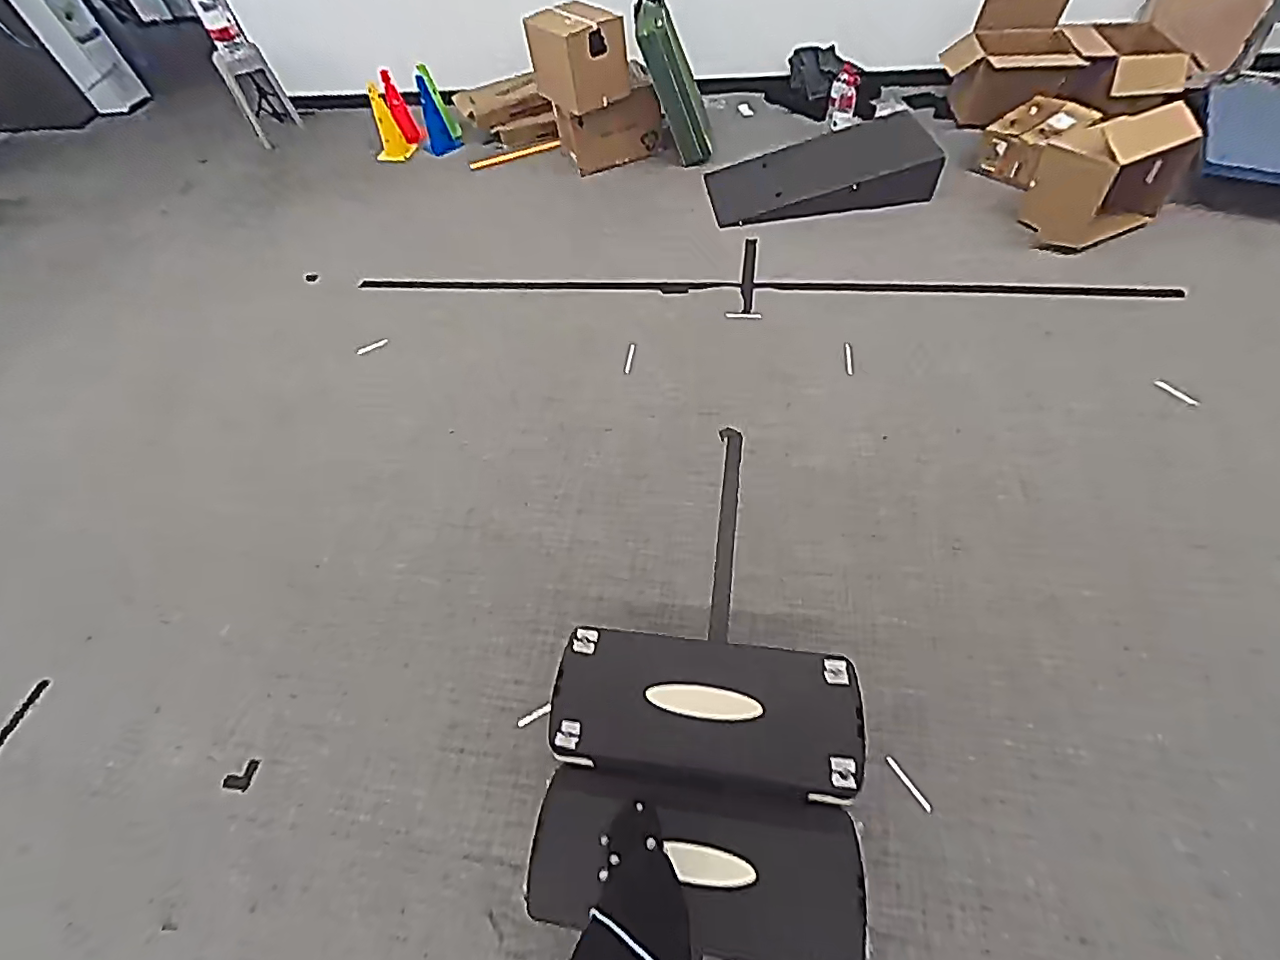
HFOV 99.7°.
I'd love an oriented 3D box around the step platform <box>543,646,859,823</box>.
[{"bbox_3d":[0.129,0.565,1.225,0.684,0.204,0.286,4,56,8],"label":"step platform"}]
